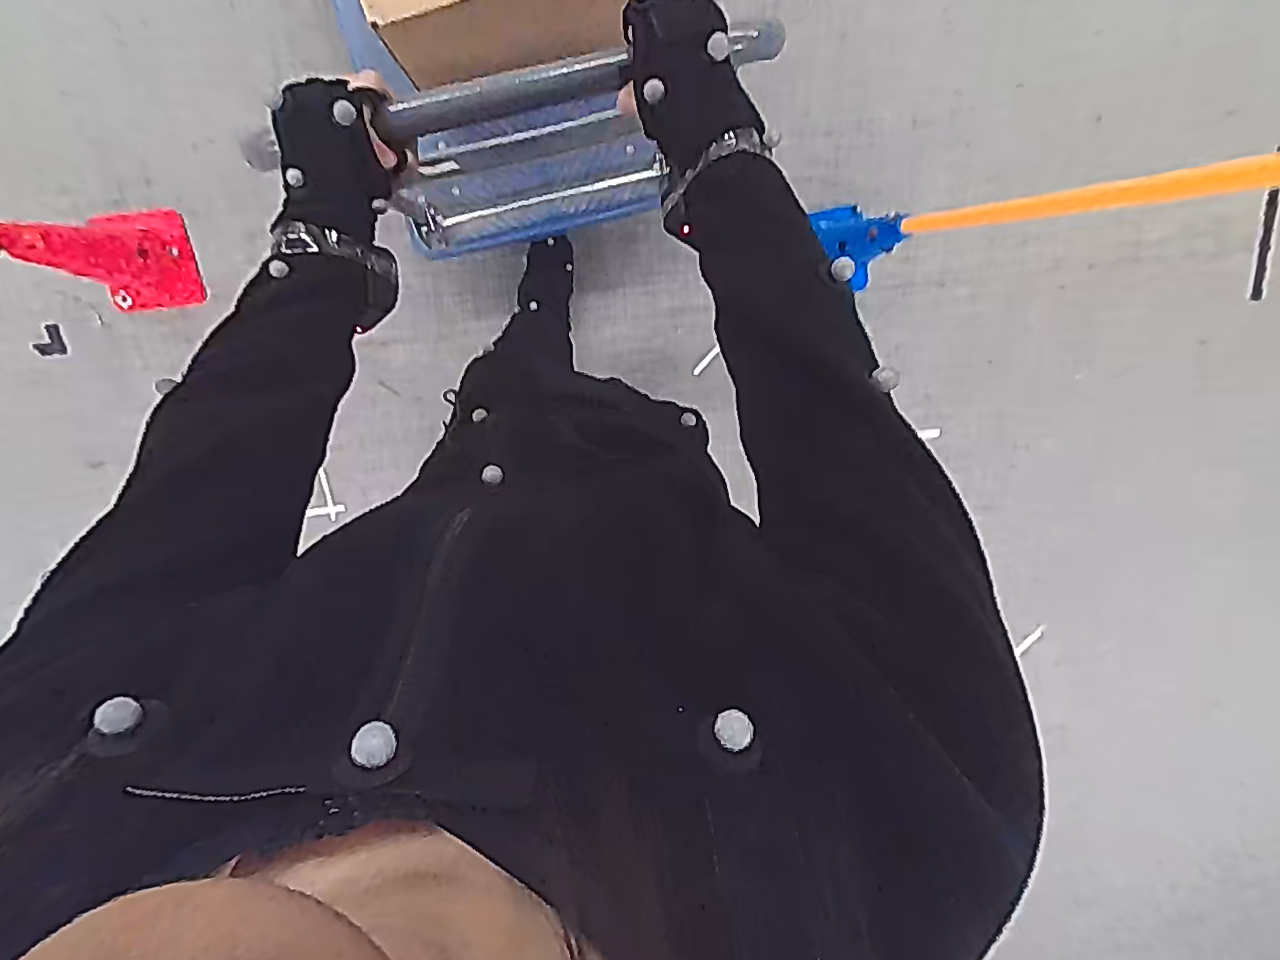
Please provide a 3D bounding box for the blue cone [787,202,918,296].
[{"bbox_3d":[0.466,-0.511,1.142,0.193,0.380,0.192,-10,105,-2],"label":"blue cone"}]
